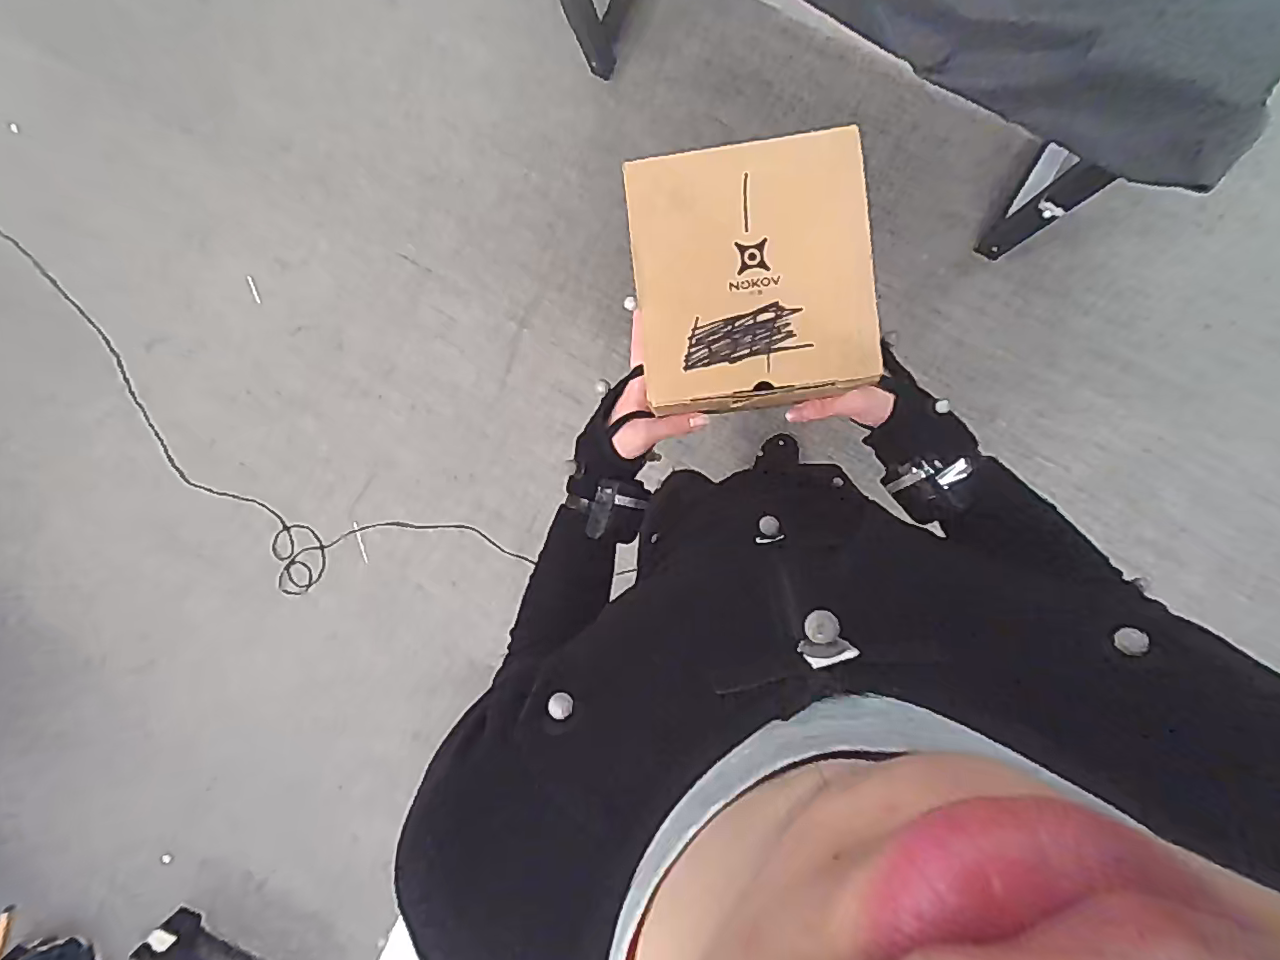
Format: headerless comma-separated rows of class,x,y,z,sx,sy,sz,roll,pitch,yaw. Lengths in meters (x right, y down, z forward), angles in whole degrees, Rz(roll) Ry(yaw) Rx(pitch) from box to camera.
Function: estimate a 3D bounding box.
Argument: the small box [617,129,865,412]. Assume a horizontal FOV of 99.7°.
small box,0.078,-0.153,0.462,0.168,0.176,0.179,-5,92,5
